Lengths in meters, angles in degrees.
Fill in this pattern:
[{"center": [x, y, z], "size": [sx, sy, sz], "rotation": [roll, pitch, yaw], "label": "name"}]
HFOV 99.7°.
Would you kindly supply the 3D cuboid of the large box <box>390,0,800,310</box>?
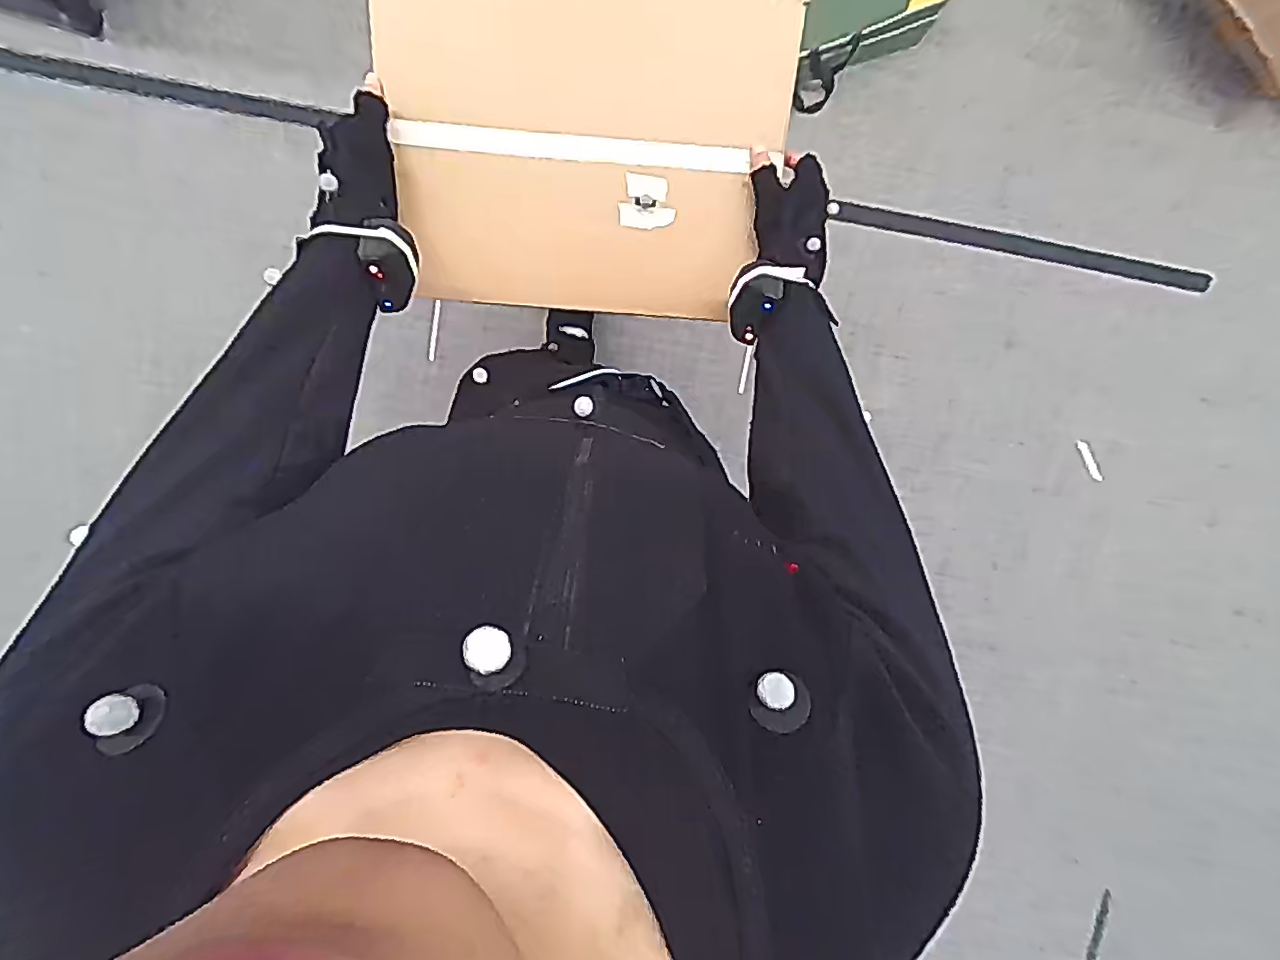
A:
[{"center": [-0.056, -0.398, 0.705], "size": [0.408, 0.320, 0.320], "rotation": [3, 110, -4], "label": "large box"}]
